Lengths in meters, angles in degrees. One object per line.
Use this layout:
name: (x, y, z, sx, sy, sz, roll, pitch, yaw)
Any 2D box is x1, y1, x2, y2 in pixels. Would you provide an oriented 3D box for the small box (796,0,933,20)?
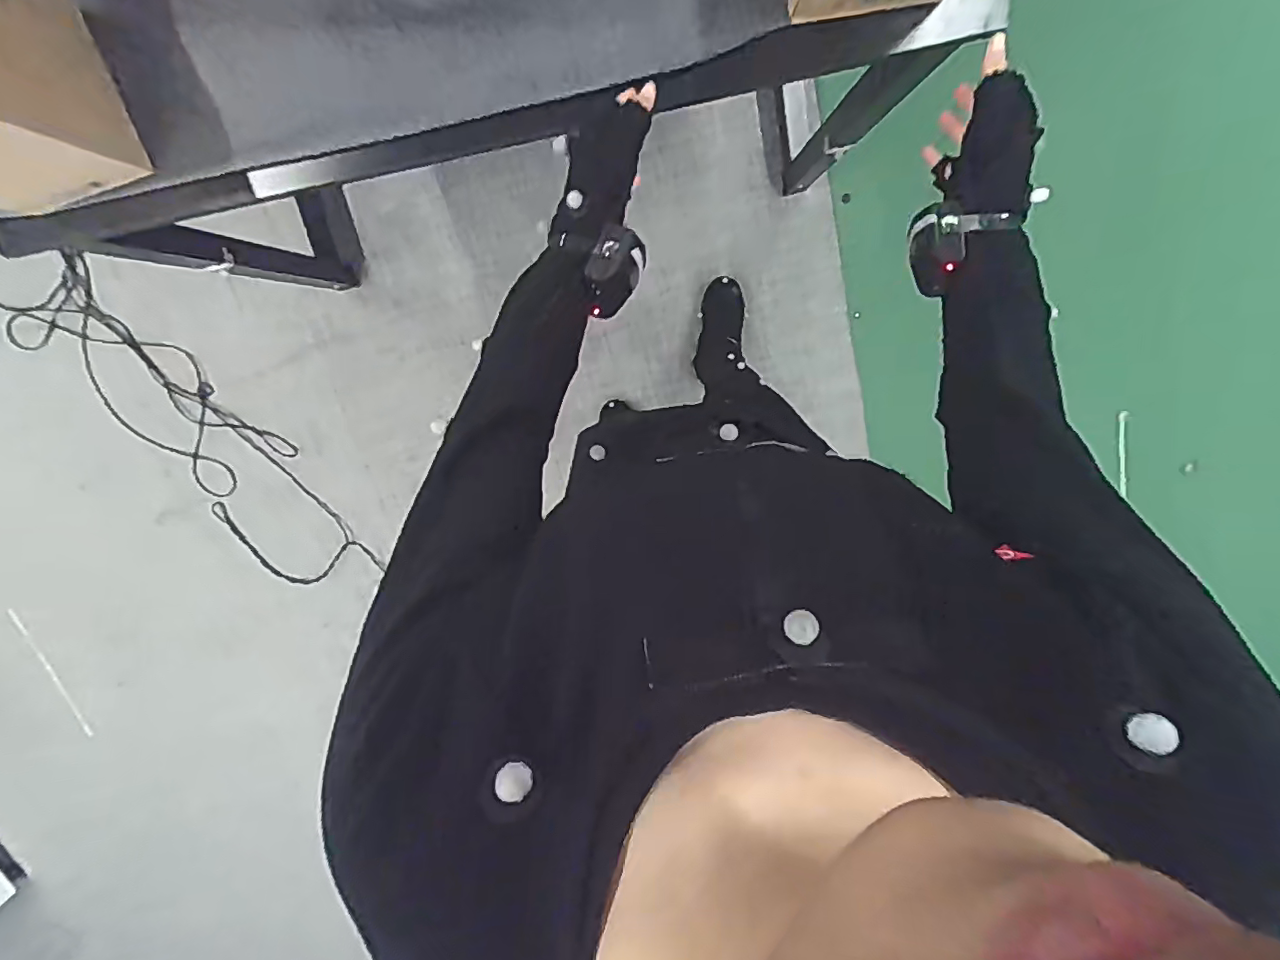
small box: (0.236, -0.567, 0.484, 0.168, 0.176, 0.179, -6, 107, 4)
